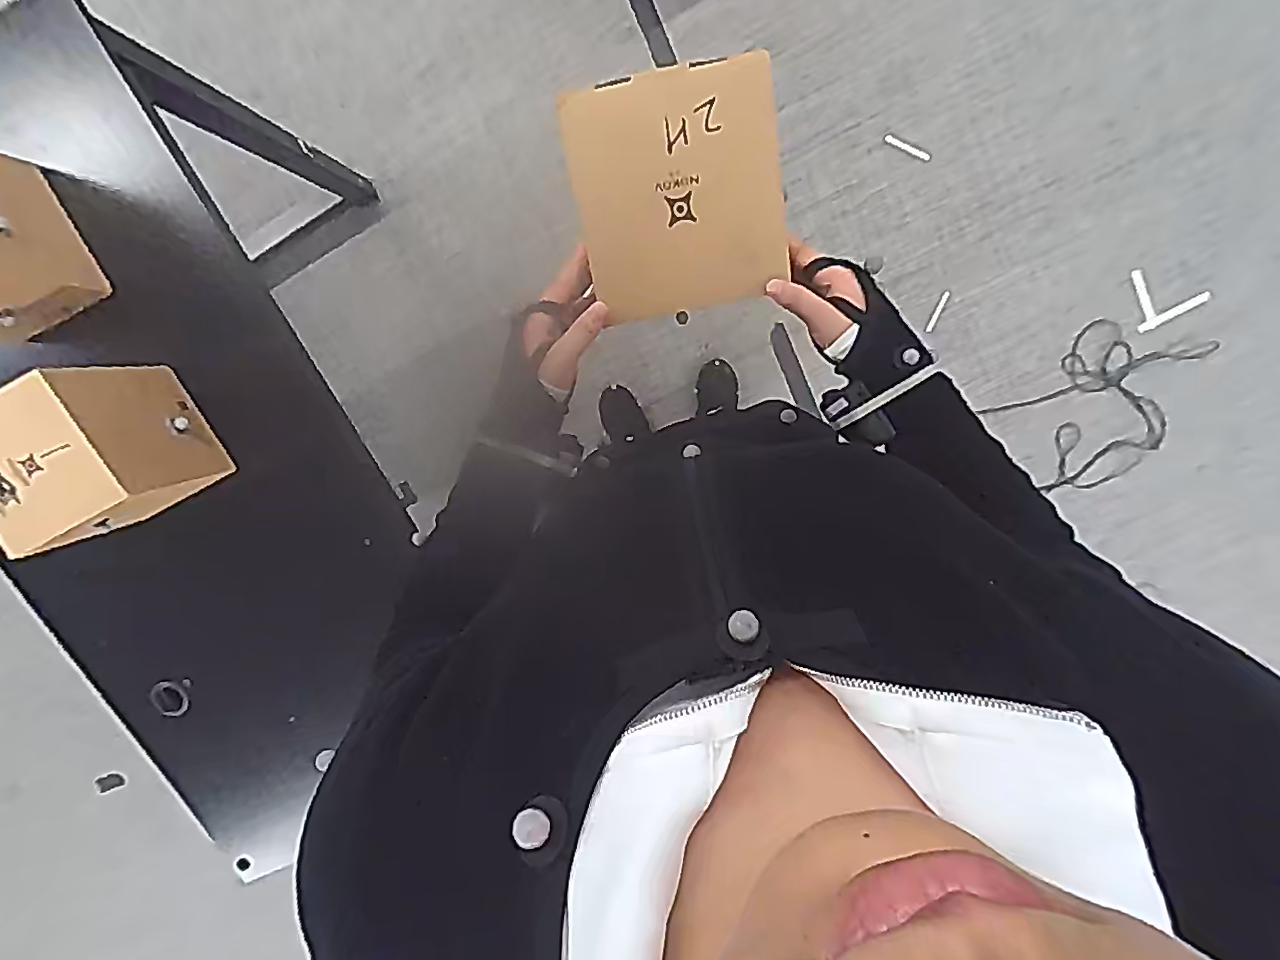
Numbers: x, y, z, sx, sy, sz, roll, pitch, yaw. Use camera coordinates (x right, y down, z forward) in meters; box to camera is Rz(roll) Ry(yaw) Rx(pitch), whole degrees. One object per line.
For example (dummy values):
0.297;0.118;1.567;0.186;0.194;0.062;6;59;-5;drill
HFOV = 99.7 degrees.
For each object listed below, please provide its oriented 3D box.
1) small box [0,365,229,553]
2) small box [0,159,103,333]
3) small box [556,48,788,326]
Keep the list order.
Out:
-0.696;-0.035;0.694;0.179;0.176;0.168;-26;101;7;small box
-0.819;-0.283;0.641;0.168;0.176;0.179;-23;102;7;small box
0.030;-0.253;0.506;0.168;0.176;0.179;-11;109;2;small box
